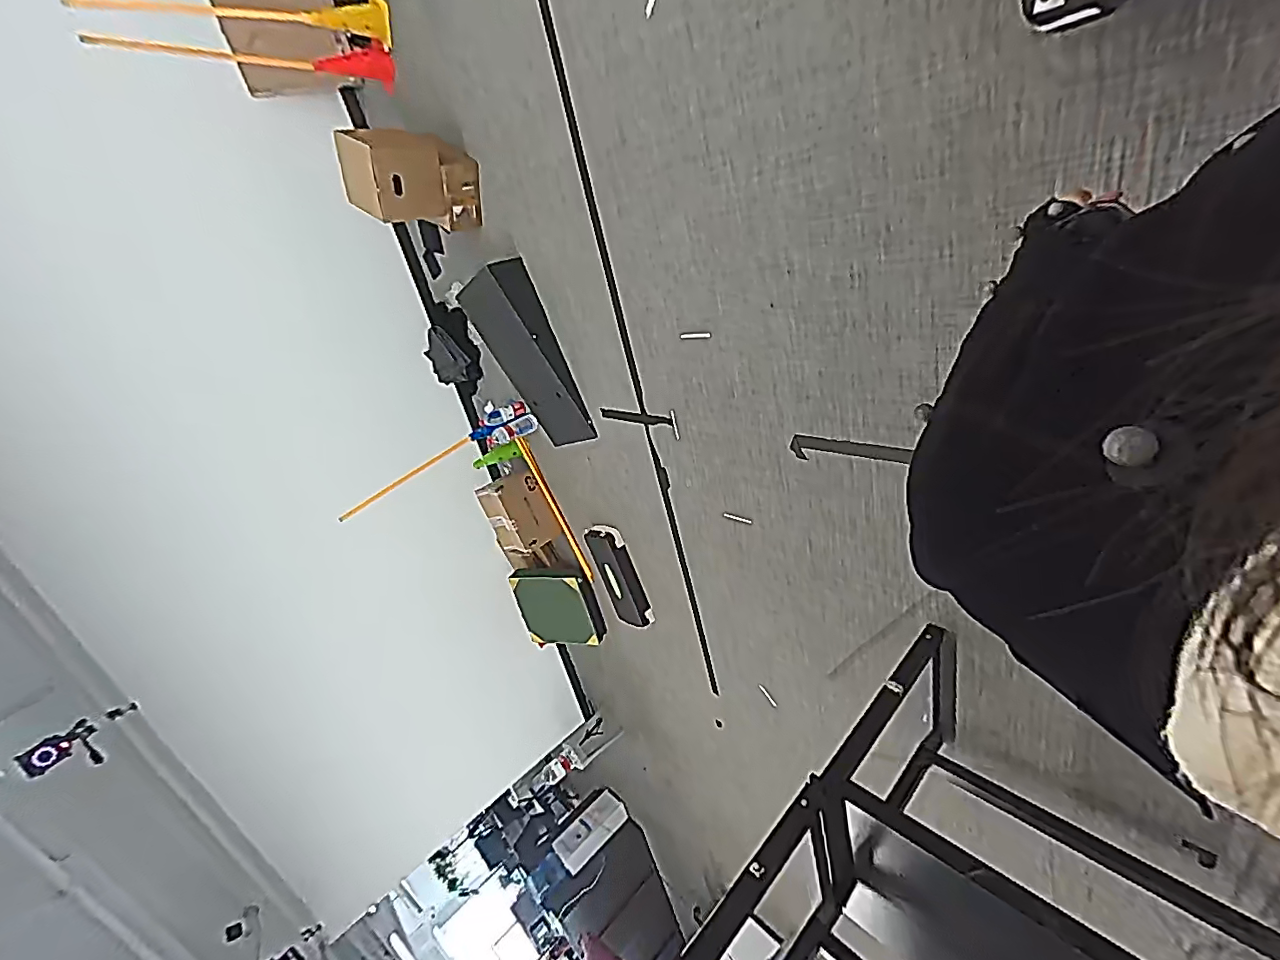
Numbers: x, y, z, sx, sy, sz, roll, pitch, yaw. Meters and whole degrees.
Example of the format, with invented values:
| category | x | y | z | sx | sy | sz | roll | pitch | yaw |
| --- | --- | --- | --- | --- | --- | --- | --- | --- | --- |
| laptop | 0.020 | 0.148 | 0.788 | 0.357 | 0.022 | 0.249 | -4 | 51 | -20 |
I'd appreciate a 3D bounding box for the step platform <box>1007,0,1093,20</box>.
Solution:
| category | x | y | z | sx | sy | sz | roll | pitch | yaw |
| --- | --- | --- | --- | --- | --- | --- | --- | --- | --- |
| step platform | 0.887 | -0.875 | 0.701 | 0.684 | 0.204 | 0.286 | 22 | 133 | 44 |
